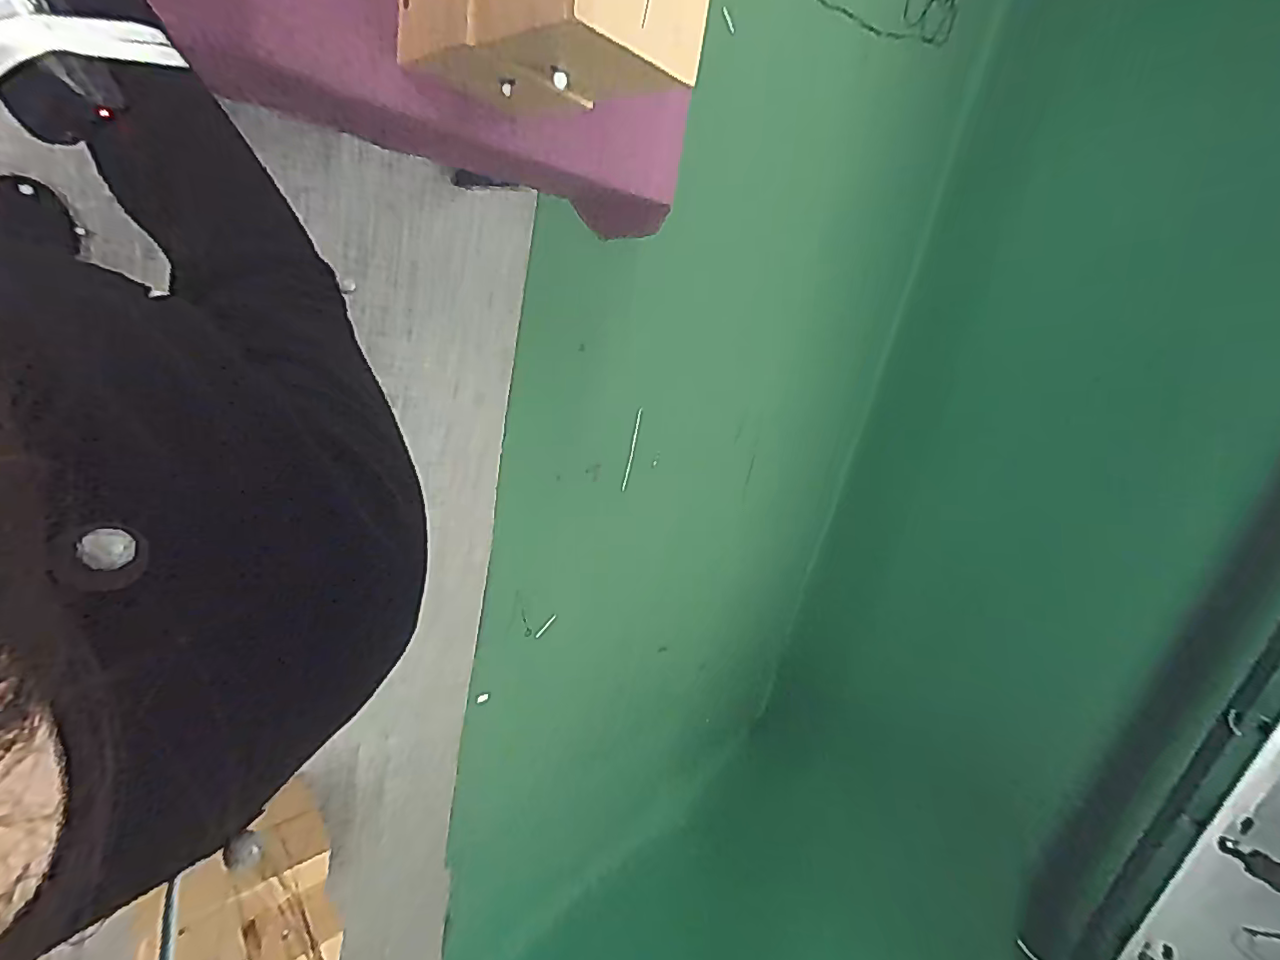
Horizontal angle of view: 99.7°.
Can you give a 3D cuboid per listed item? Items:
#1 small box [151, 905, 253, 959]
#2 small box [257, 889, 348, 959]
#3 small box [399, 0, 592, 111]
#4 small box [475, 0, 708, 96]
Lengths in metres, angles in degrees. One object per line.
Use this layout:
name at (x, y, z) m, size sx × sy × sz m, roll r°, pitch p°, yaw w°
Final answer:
small box at (-1.033, 1.167, 1.271) m, size 0.168 × 0.176 × 0.179 m, roll 1°, pitch 111°, yaw -48°
small box at (-0.917, 1.262, 1.465) m, size 0.168 × 0.176 × 0.179 m, roll -2°, pitch 114°, yaw -48°
small box at (-0.162, -0.557, 0.632) m, size 0.179 × 0.176 × 0.168 m, roll -9°, pitch 117°, yaw -46°
small box at (-0.045, -0.508, 0.527) m, size 0.168 × 0.176 × 0.179 m, roll -12°, pitch 119°, yaw -45°
